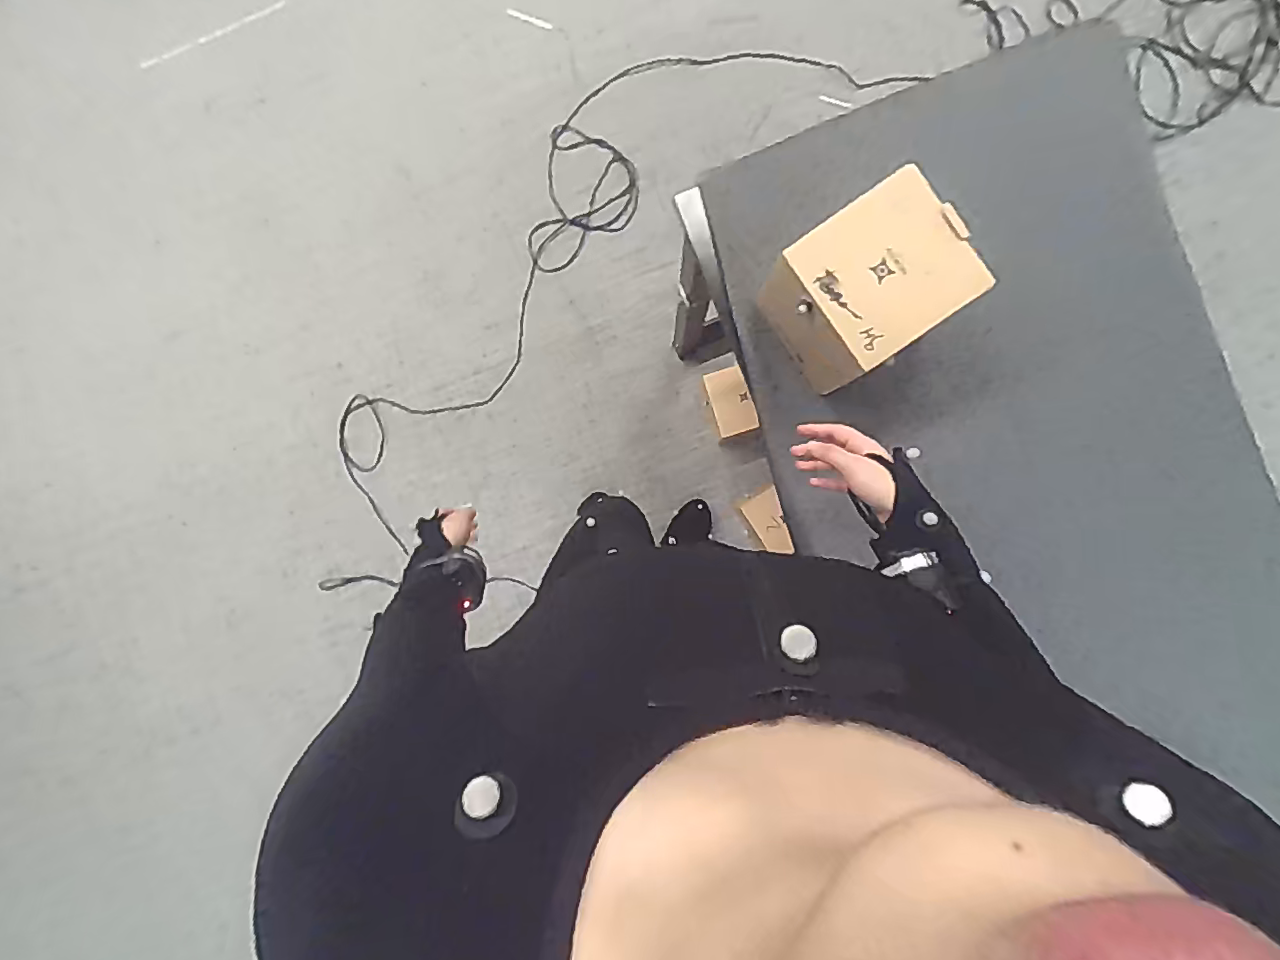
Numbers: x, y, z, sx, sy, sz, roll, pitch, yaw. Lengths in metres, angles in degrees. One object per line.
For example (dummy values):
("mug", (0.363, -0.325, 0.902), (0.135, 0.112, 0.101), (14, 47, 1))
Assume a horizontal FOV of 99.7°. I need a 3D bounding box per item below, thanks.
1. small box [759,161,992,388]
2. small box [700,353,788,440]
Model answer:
("small box", (0.272, -0.237, 0.670), (0.179, 0.176, 0.168), (-34, 88, 1))
("small box", (0.260, -0.208, 1.402), (0.179, 0.176, 0.168), (-17, 88, 1))
